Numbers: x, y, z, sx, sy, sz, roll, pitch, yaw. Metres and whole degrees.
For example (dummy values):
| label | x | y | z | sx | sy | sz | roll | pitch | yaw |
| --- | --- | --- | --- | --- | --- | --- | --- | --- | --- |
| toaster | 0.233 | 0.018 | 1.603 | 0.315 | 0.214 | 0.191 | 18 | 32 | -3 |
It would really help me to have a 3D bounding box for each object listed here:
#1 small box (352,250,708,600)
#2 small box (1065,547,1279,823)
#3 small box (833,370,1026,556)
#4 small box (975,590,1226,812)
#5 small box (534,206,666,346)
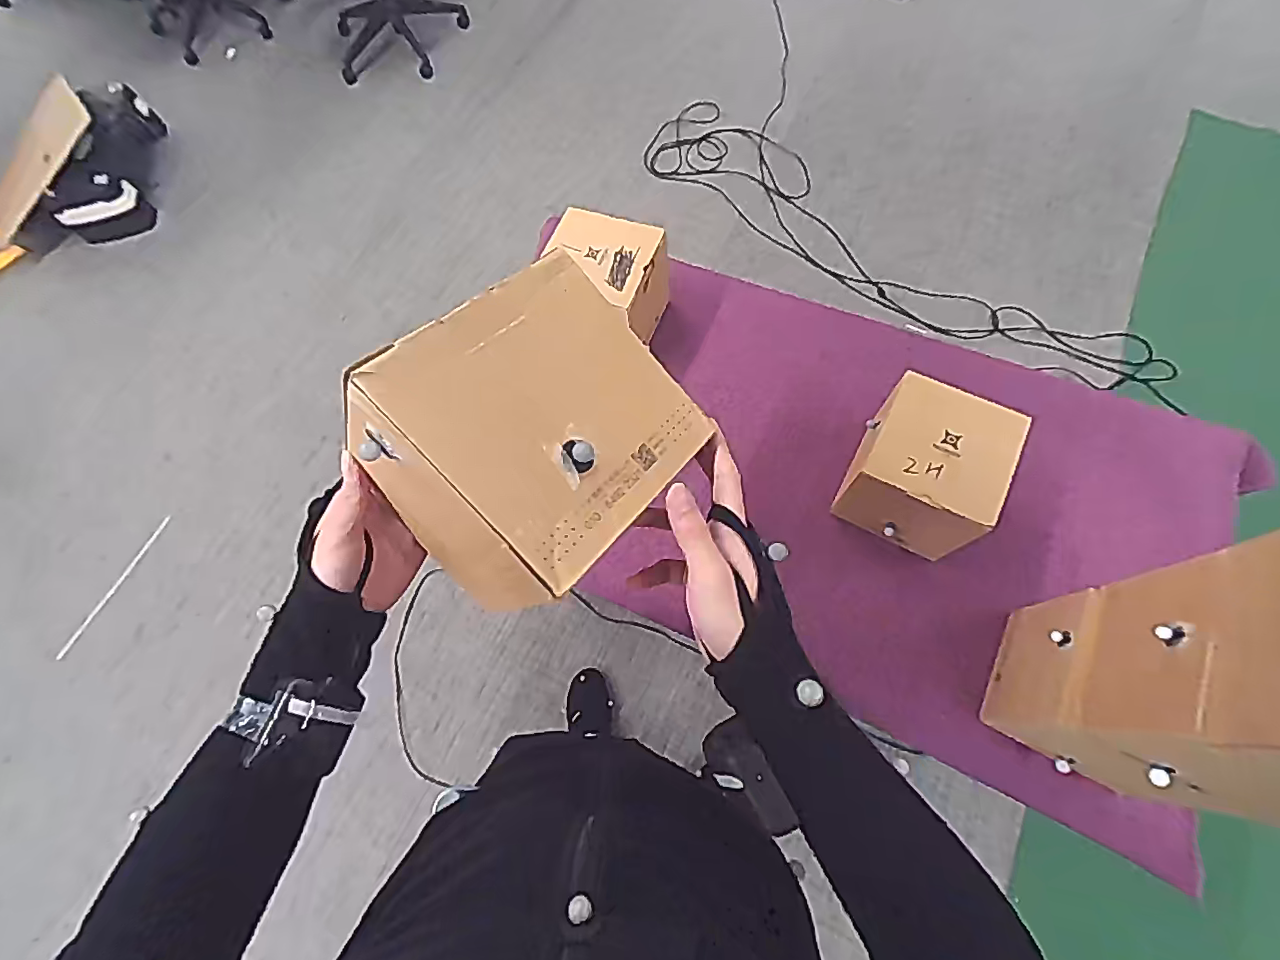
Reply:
| label | x | y | z | sx | sy | sz | roll | pitch | yaw |
| --- | --- | --- | --- | --- | --- | --- | --- | --- | --- |
| small box | -0.086 | -0.025 | 0.407 | 0.176 | 0.179 | 0.168 | 50 | 59 | -9 |
| small box | 0.547 | 0.193 | 0.504 | 0.168 | 0.176 | 0.179 | 26 | 72 | 15 |
| small box | 0.399 | -0.017 | 0.775 | 0.168 | 0.176 | 0.179 | 27 | 73 | 14 |
| small box | 0.554 | 0.257 | 0.654 | 0.179 | 0.176 | 0.168 | 27 | 71 | 14 |
| small box | -0.061 | -0.326 | 0.927 | 0.179 | 0.176 | 0.168 | 19 | 71 | 12 |
